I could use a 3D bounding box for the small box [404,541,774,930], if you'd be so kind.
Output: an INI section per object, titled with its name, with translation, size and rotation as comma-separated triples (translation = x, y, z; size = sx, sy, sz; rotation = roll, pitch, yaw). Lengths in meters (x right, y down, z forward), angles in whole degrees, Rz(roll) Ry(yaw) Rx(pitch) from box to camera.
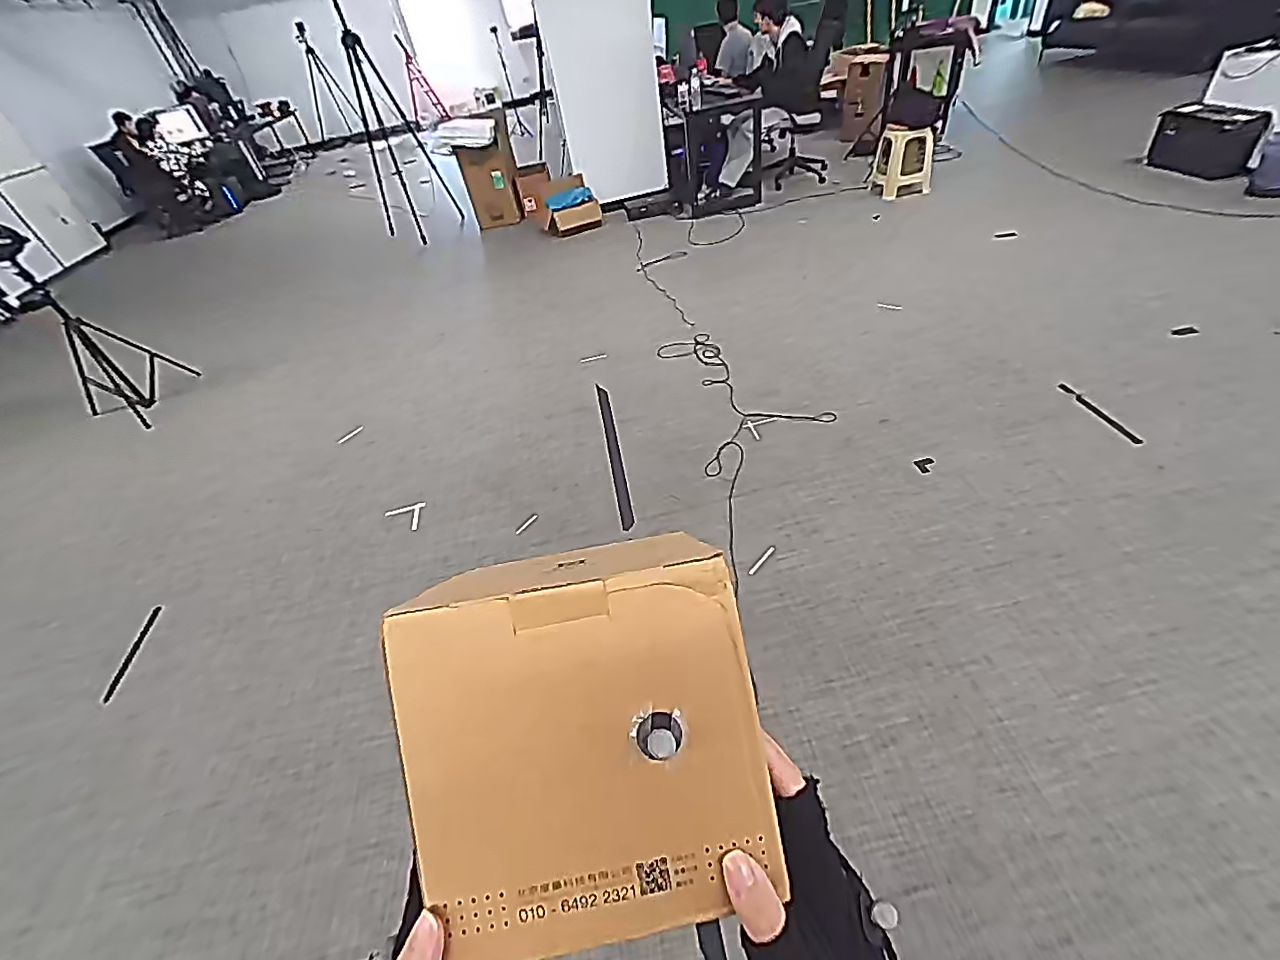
[small box]
translation = -0.024, 0.143, 0.349
size = 0.168, 0.176, 0.179
rotation = -10, -2, -2
